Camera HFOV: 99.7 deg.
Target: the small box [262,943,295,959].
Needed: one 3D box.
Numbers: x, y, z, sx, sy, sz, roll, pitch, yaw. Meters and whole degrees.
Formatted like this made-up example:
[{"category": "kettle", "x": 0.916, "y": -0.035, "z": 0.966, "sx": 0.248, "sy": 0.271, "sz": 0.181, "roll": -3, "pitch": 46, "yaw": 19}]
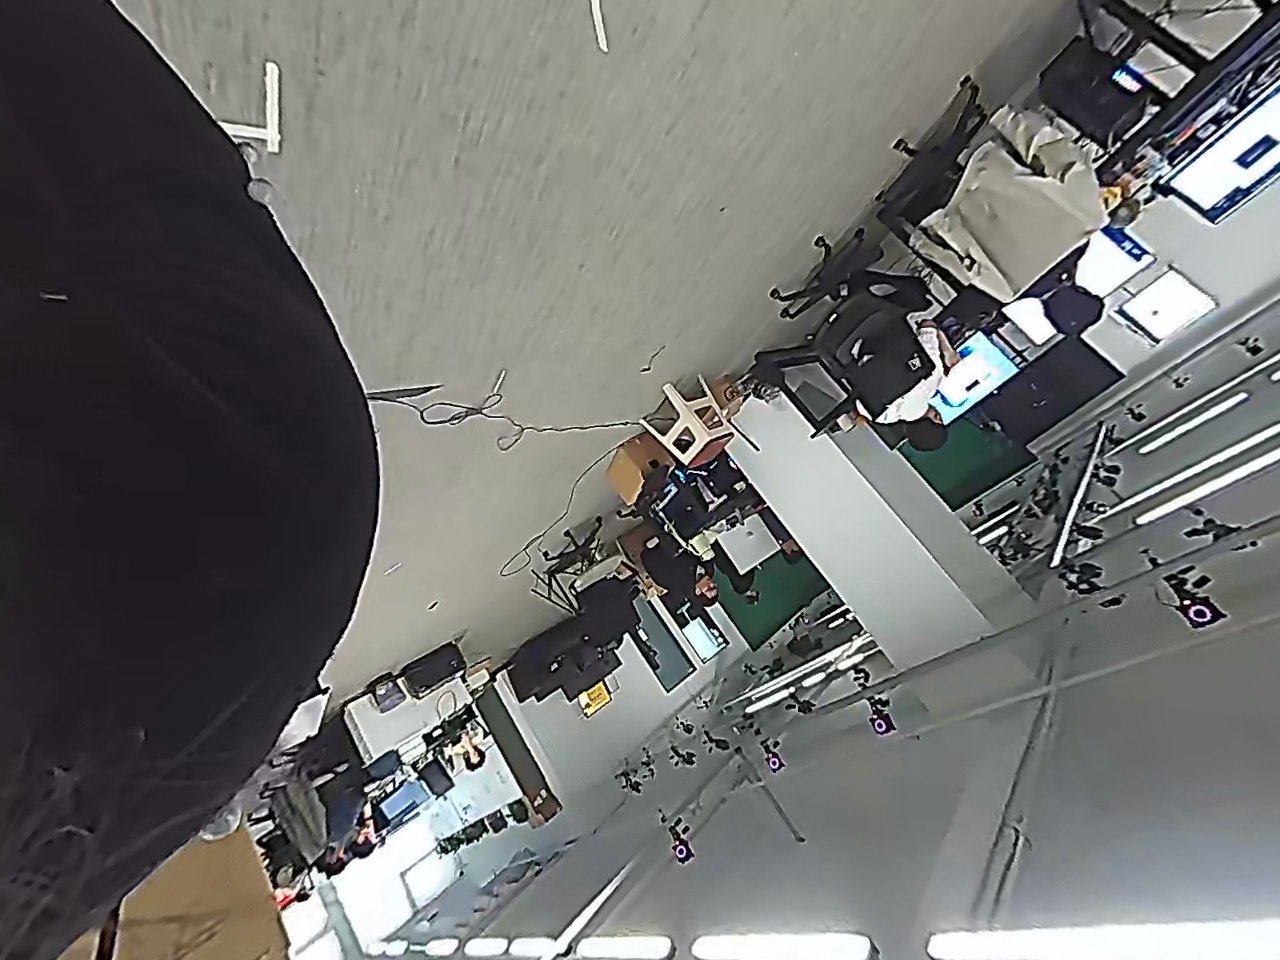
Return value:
[{"category": "small box", "x": -1.175, "y": 1.609, "z": 1.704, "sx": 0.168, "sy": 0.176, "sz": 0.179, "roll": -22, "pitch": 159, "yaw": -41}]
